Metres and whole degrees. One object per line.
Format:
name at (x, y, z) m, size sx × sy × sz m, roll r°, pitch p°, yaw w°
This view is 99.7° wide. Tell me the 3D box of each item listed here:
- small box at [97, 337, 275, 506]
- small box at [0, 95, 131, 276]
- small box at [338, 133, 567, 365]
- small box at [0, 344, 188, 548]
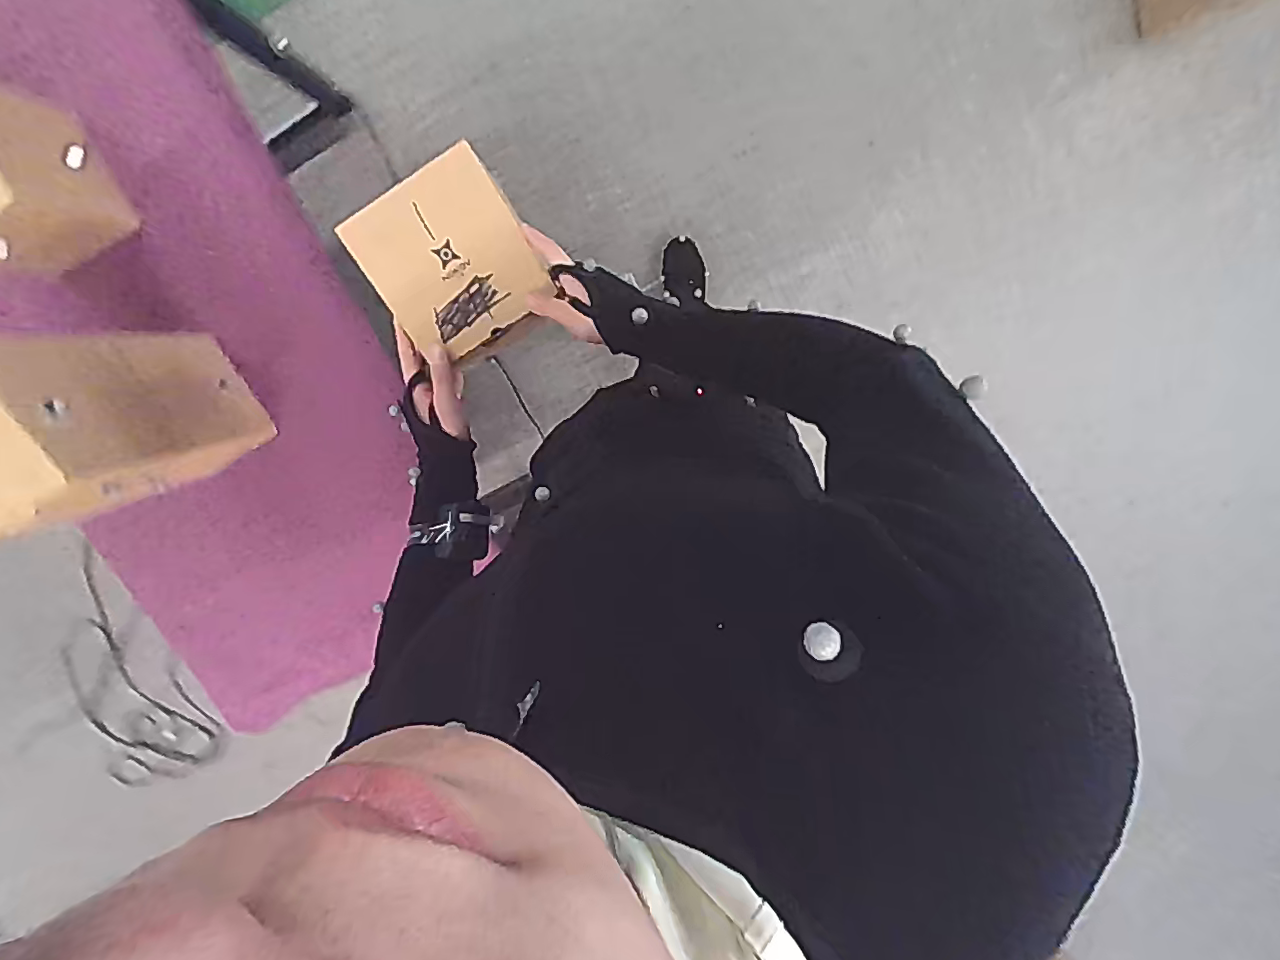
small box at (-0.703, -0.092, 0.797) m, size 0.168 × 0.176 × 0.179 m, roll -29°, pitch 102°, yaw 10°
small box at (-0.861, -0.390, 0.722) m, size 0.179 × 0.176 × 0.168 m, roll -23°, pitch 104°, yaw 8°
small box at (-0.199, -0.256, 0.639) m, size 0.168 × 0.176 × 0.179 m, roll -31°, pitch 104°, yaw 4°
small box at (-0.706, -0.047, 0.640) m, size 0.168 × 0.176 × 0.179 m, roll -30°, pitch 102°, yaw 8°
